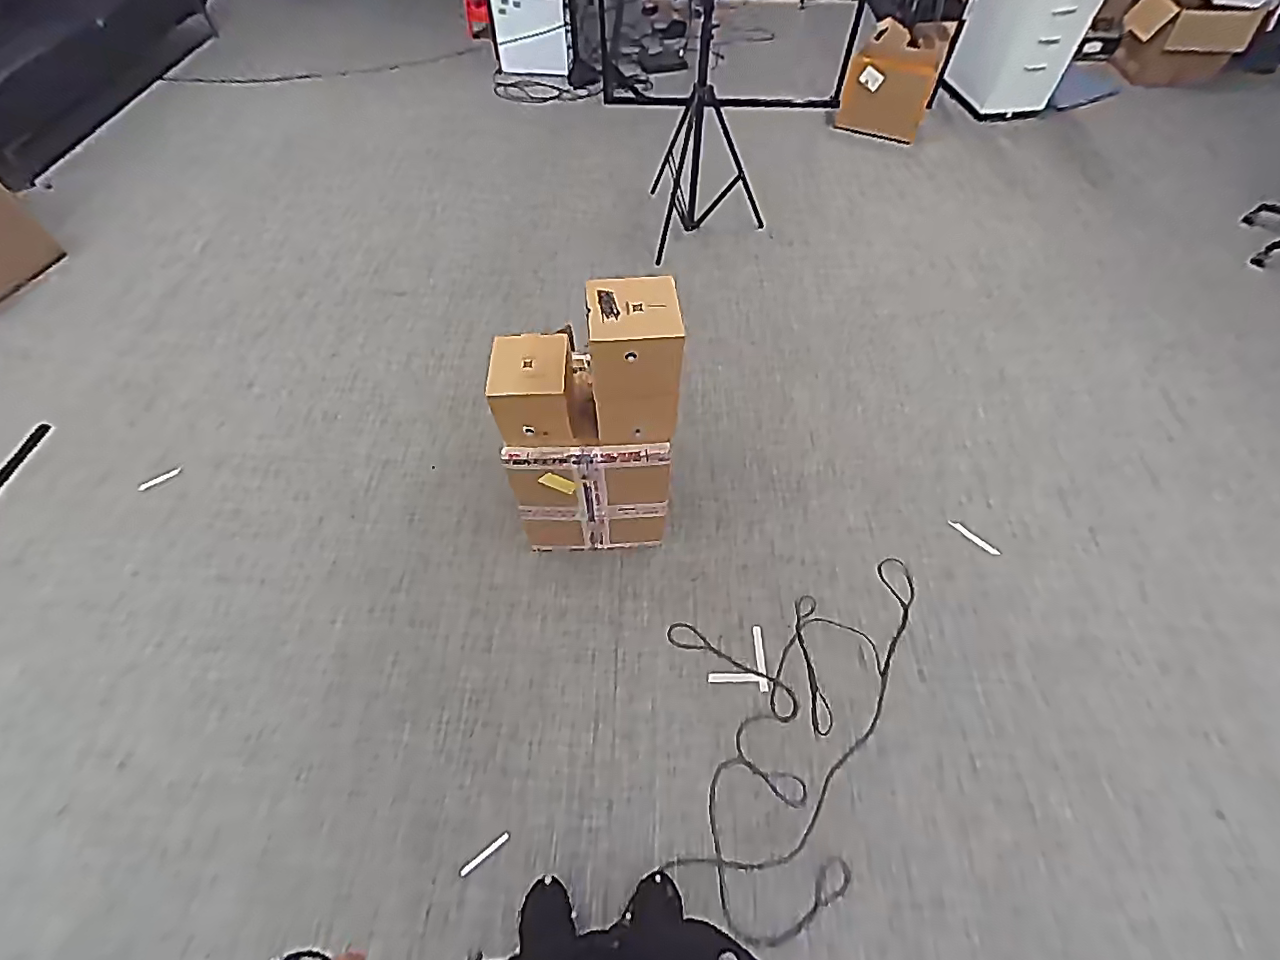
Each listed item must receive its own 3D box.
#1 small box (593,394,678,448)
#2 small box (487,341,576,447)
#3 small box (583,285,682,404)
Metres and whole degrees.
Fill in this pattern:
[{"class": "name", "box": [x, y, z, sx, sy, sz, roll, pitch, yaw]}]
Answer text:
[{"class": "small box", "box": [-0.017, -0.187, 1.234, 0.179, 0.176, 0.168, -5, 59, -4]}, {"class": "small box", "box": [-0.240, -0.195, 1.237, 0.168, 0.176, 0.179, -3, 60, 0]}, {"class": "small box", "box": [-0.016, -0.268, 1.089, 0.179, 0.176, 0.168, -5, 60, -4]}]
